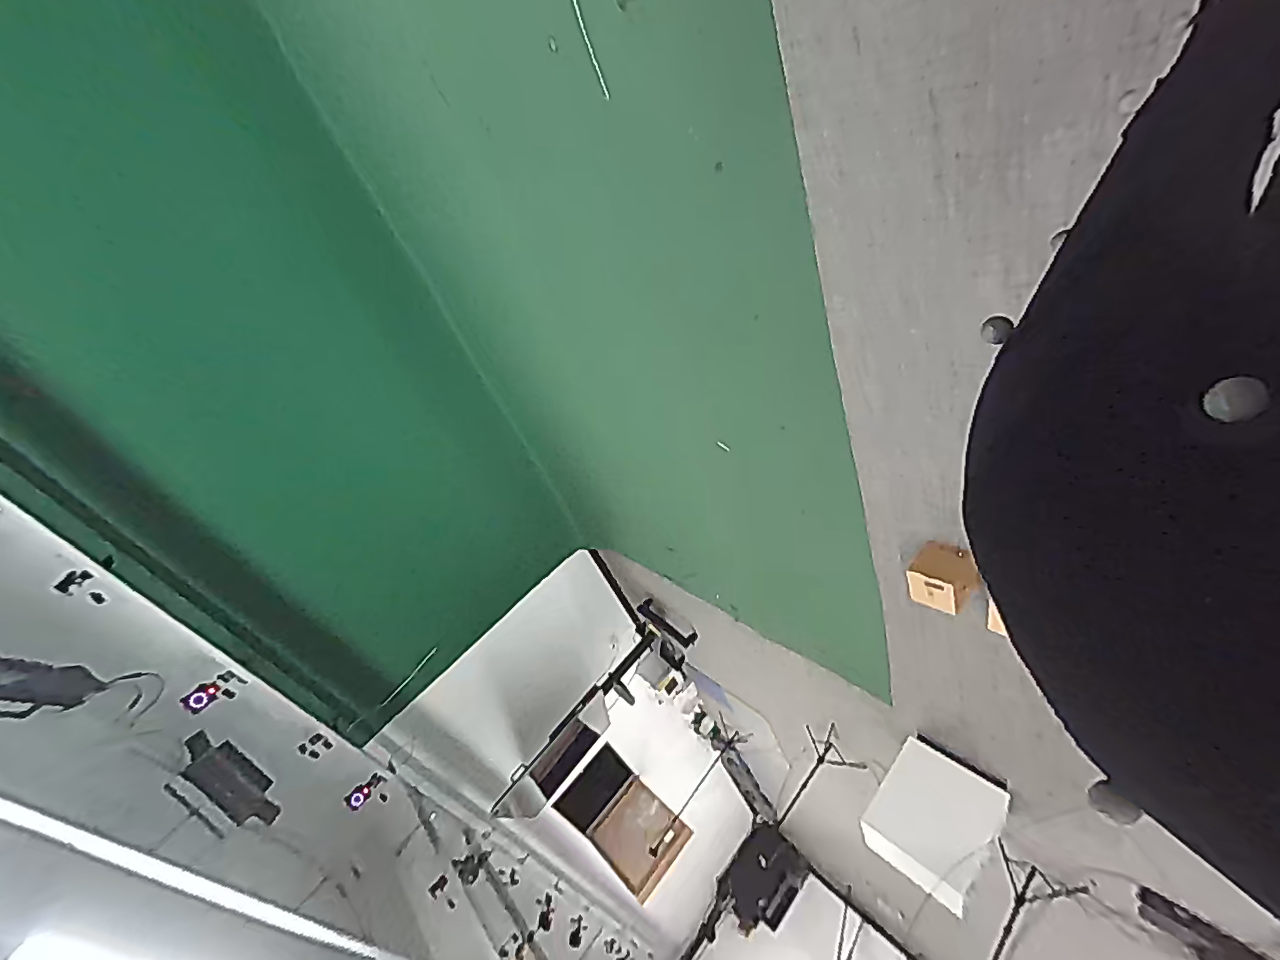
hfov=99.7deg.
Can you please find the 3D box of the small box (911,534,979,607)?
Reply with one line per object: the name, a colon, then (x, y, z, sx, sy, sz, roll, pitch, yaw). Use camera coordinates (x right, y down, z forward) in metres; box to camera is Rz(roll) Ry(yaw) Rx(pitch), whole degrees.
small box: (1.129, 0.328, 1.996, 0.168, 0.176, 0.179, 20, 145, 49)
